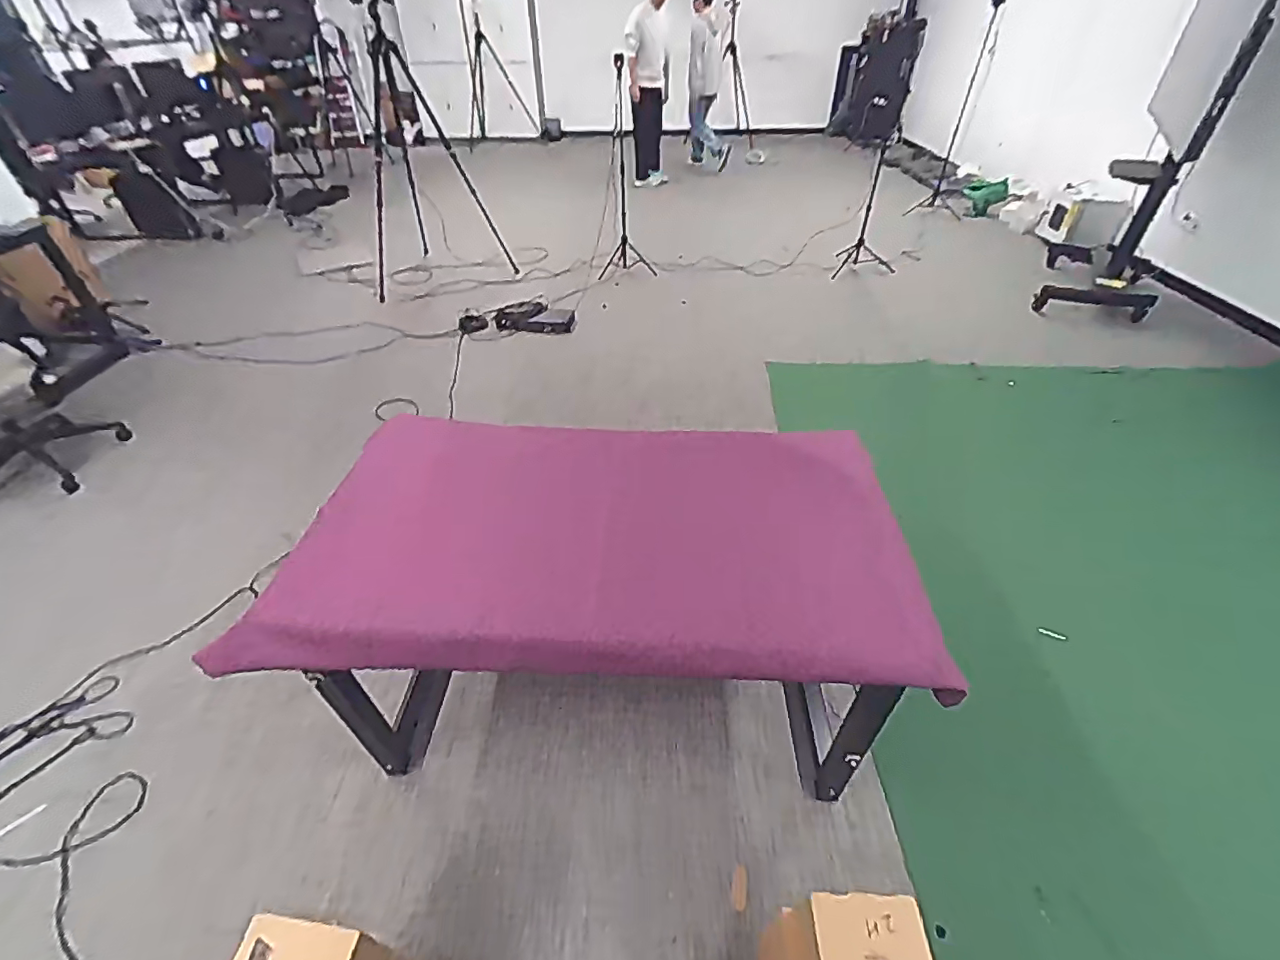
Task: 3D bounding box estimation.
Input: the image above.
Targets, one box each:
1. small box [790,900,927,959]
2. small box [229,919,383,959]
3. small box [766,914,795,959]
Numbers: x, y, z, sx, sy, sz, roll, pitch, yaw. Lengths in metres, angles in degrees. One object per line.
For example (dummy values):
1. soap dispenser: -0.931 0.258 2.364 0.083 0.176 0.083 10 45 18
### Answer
1. small box: 0.338 0.773 0.830 0.168 0.176 0.179 1 42 1
2. small box: -0.520 0.792 0.807 0.179 0.176 0.168 5 41 6
3. small box: 0.324 0.891 0.947 0.168 0.176 0.179 1 42 1
